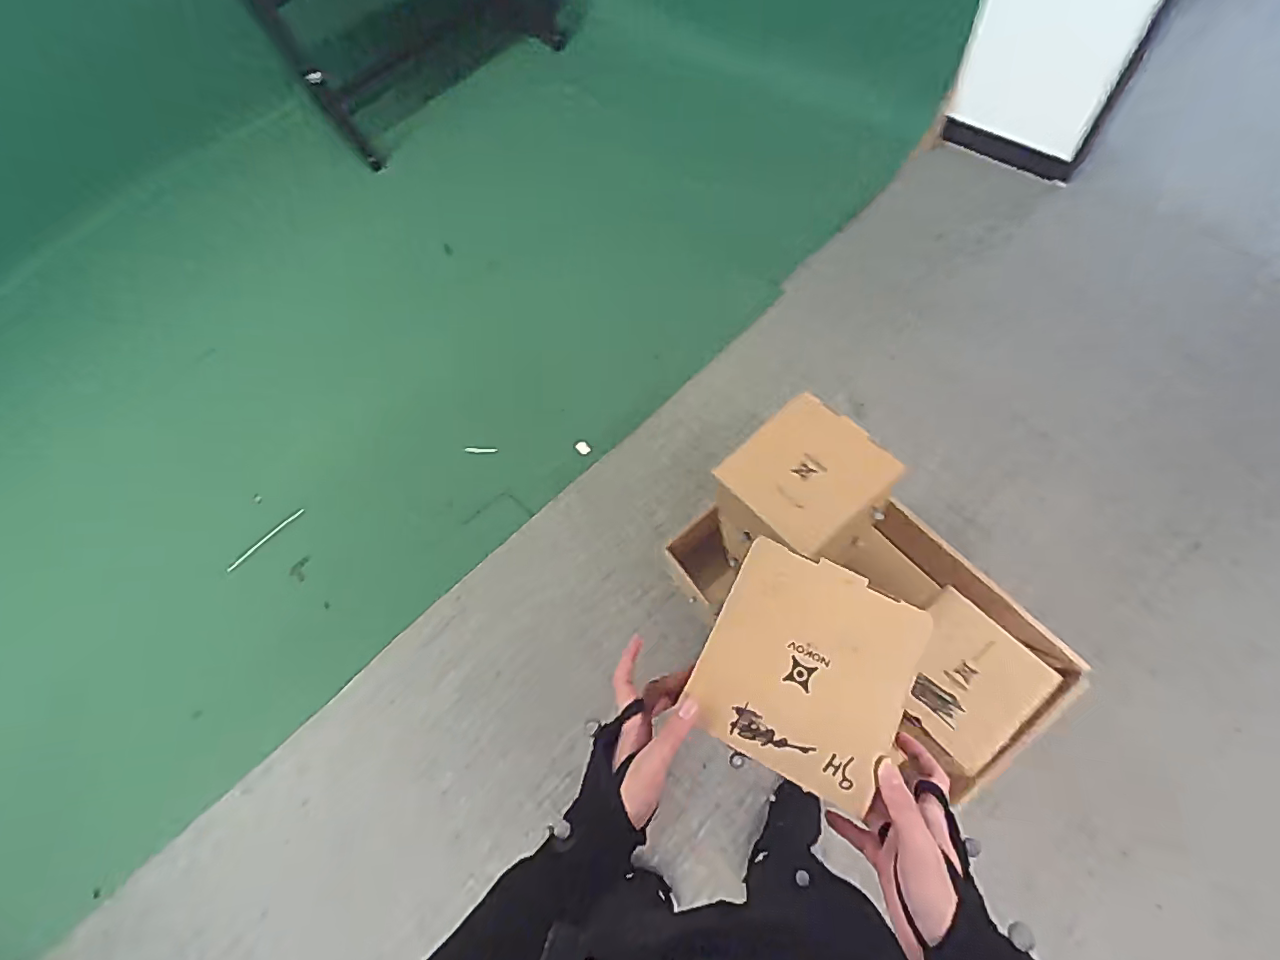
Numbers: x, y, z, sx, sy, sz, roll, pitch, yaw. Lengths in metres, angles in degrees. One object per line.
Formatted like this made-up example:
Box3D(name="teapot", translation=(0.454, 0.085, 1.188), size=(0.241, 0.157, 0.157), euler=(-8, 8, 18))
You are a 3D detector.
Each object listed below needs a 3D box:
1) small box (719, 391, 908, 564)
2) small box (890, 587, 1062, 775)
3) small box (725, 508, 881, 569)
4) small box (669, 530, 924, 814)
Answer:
Box3D(name="small box", translation=(0.228, 0.018, 0.752), size=(0.179, 0.176, 0.168), euler=(-40, 64, -7))
Box3D(name="small box", translation=(0.433, 0.285, 0.772), size=(0.179, 0.176, 0.168), euler=(-41, 65, -7))
Box3D(name="small box", translation=(0.260, 0.082, 0.898), size=(0.179, 0.176, 0.168), euler=(-40, 64, -7))
Box3D(name="small box", translation=(0.139, 0.178, 0.528), size=(0.168, 0.176, 0.179), euler=(24, 74, 14))
